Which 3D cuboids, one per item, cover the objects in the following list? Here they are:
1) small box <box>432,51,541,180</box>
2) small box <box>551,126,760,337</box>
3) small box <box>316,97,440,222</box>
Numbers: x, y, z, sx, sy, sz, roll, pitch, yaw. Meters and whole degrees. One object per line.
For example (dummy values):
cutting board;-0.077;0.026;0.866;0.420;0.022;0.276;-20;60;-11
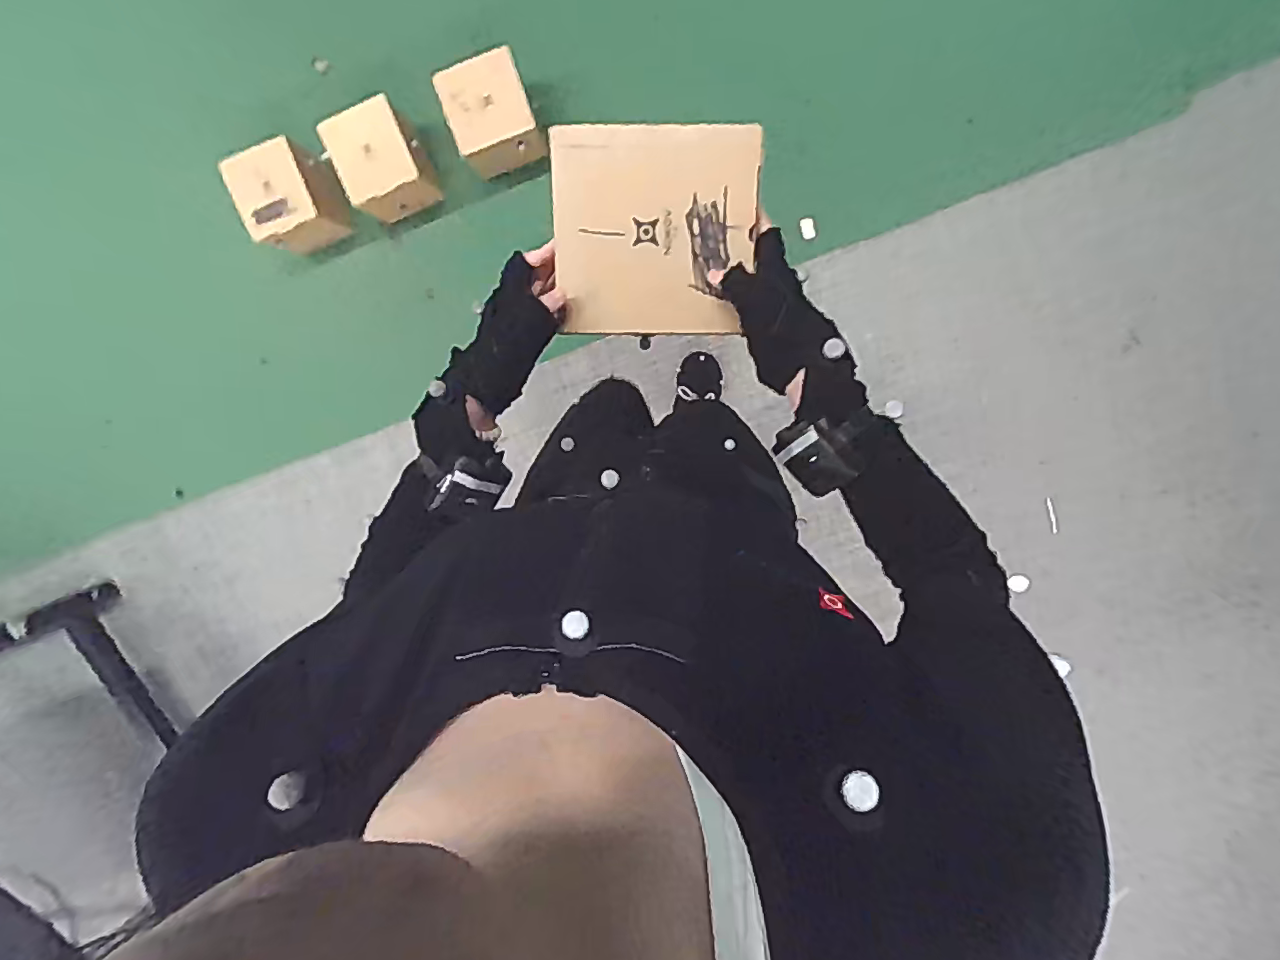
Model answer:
small box;-0.334;-0.815;1.228;0.179;0.176;0.168;-18;102;4
small box;0.011;-0.231;0.540;0.179;0.176;0.168;-1;104;0
small box;-0.595;-0.730;1.252;0.168;0.176;0.179;-20;103;5
